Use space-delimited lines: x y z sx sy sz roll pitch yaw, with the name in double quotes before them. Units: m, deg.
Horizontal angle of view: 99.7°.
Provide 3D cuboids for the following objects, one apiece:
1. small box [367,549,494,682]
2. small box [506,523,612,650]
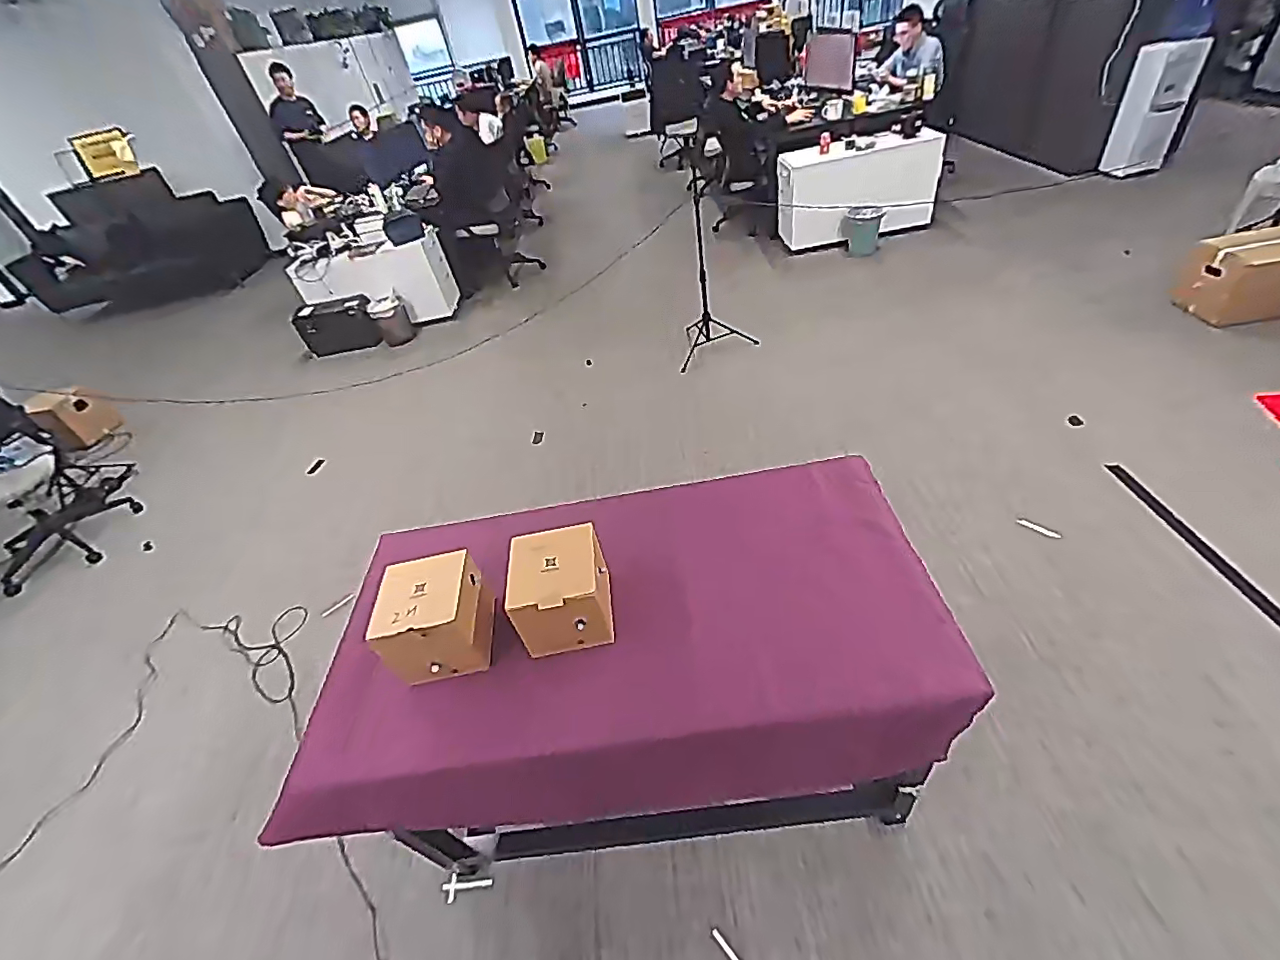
"small box" -0.397 0.267 1.064 0.168 0.176 0.179 -12 42 2
"small box" -0.152 0.216 1.062 0.168 0.176 0.179 -10 41 2
